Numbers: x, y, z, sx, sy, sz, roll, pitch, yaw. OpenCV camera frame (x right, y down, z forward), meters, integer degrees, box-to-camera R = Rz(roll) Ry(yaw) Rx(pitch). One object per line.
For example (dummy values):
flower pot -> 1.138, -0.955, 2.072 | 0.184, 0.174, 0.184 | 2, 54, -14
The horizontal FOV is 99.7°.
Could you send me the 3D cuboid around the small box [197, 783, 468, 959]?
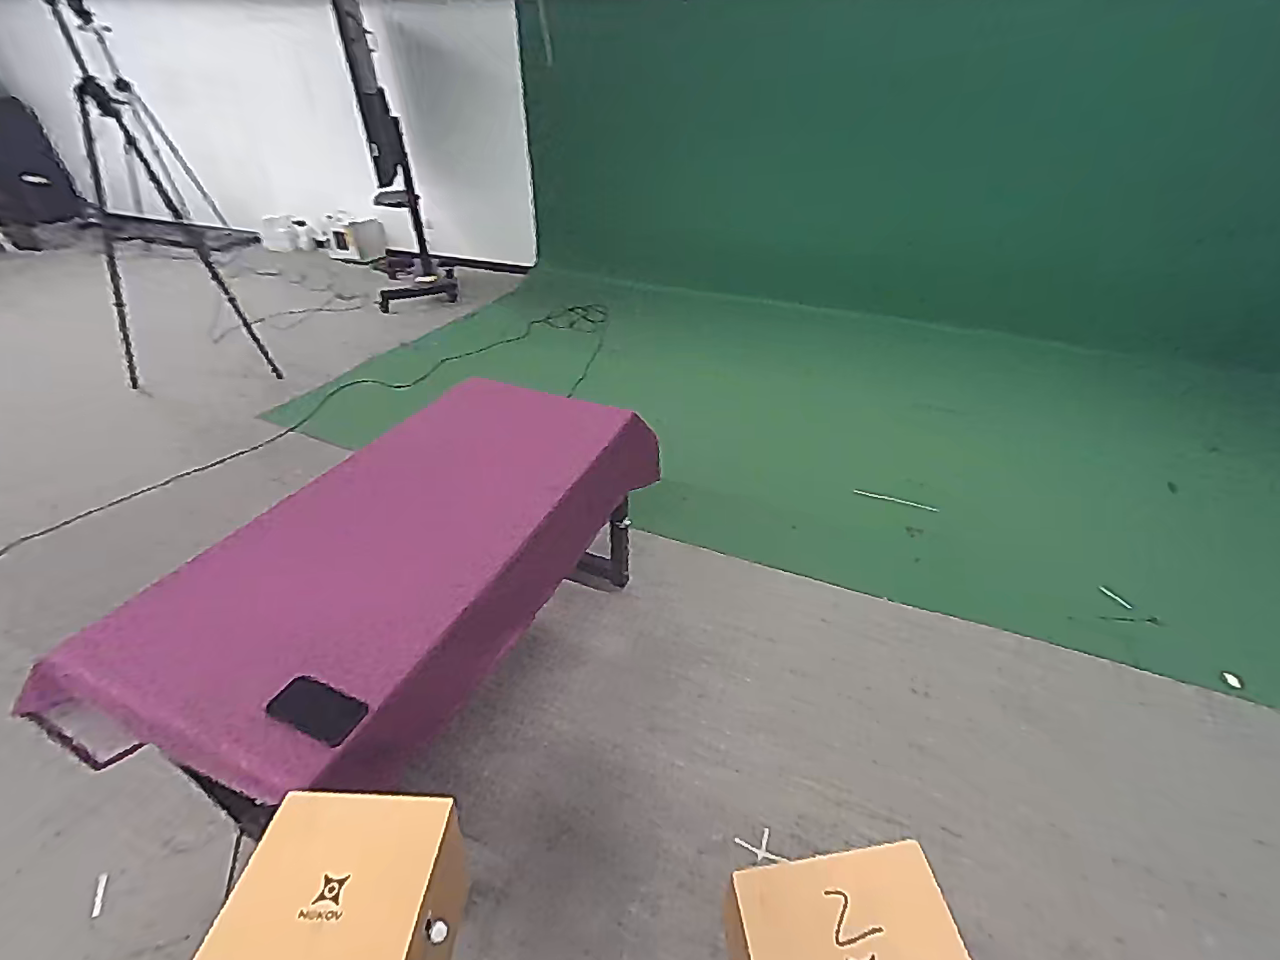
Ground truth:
small box -> -0.268, 0.422, 0.508 | 0.168, 0.176, 0.179 | 4, 31, -1
